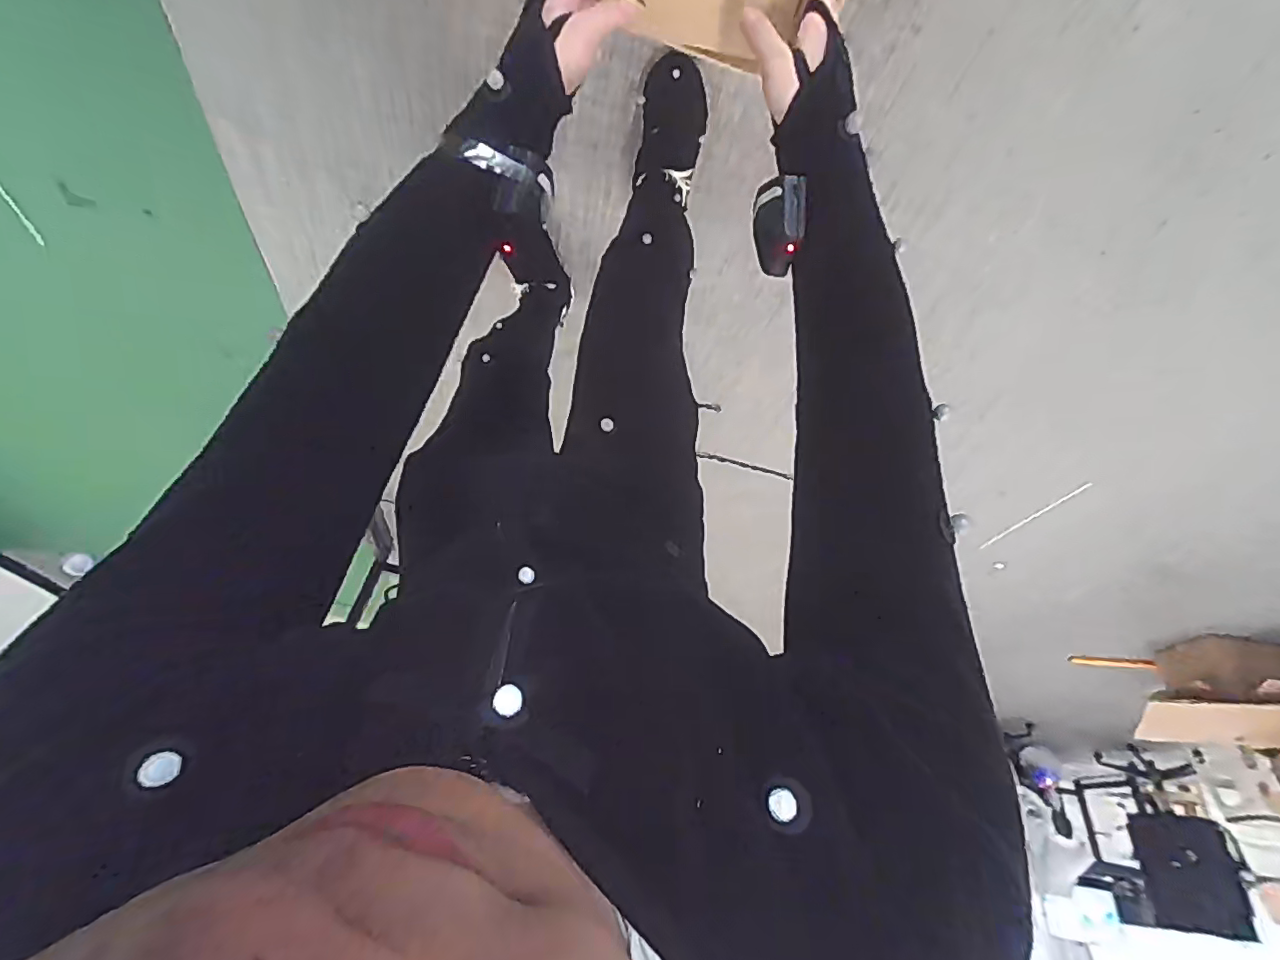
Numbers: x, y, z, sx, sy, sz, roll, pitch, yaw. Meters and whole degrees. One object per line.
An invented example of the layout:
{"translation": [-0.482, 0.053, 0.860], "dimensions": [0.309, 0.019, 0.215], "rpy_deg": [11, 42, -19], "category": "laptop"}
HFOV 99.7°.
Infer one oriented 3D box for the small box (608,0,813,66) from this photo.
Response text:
{"translation": [0.077, -0.509, 0.475], "dimensions": [0.179, 0.176, 0.168], "rpy_deg": [11, 146, -2], "category": "small box"}
